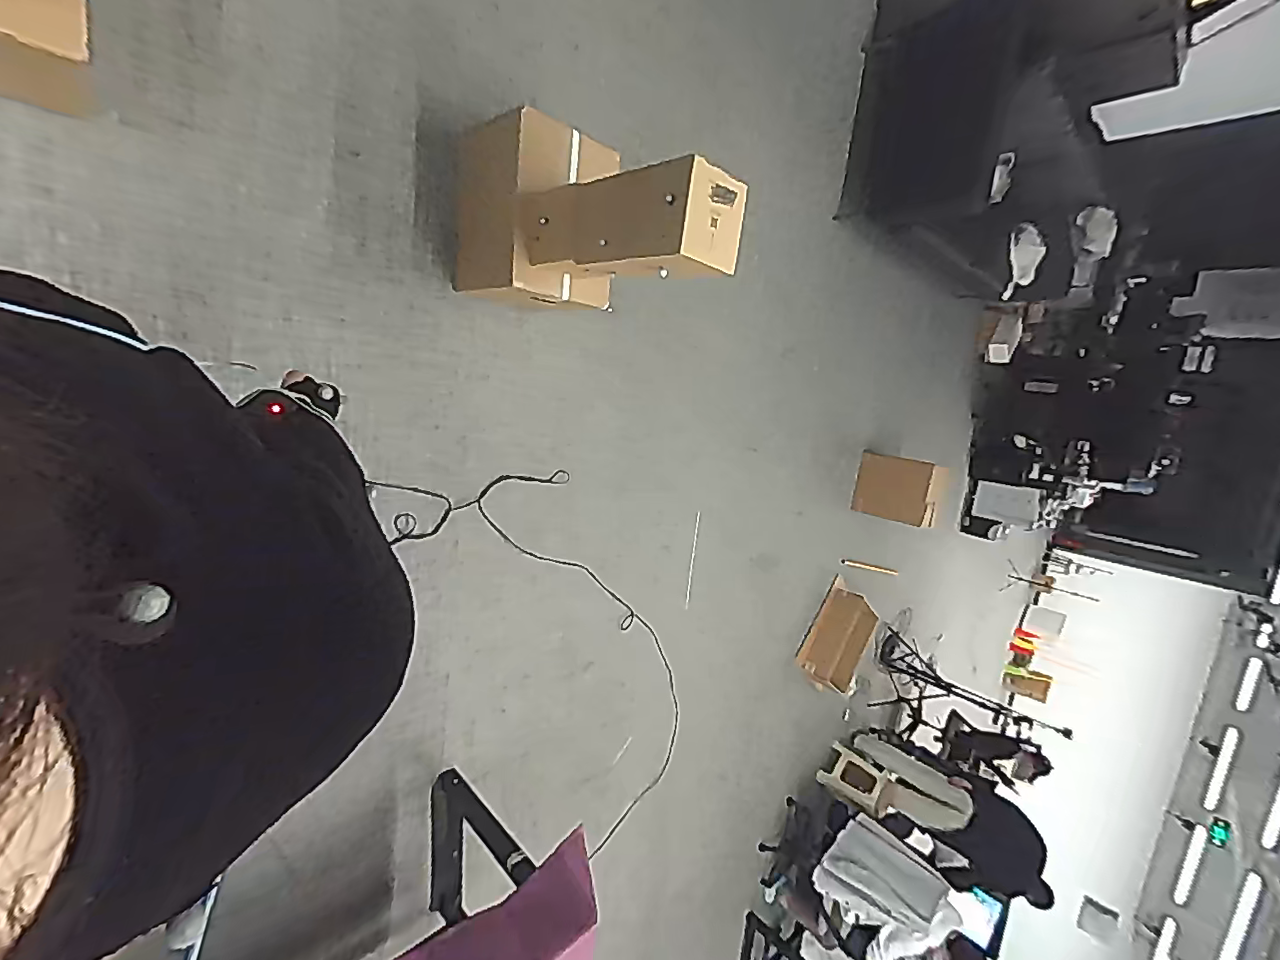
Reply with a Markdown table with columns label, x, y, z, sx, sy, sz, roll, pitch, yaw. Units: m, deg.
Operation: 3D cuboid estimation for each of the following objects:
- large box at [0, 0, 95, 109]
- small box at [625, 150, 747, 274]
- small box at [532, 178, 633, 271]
| label | x | y | z | sx | sy | sz | roll | pitch | yaw |
| --- | --- | --- | --- | --- | --- | --- | --- | --- | --- |
| large box | -0.993 | -0.828 | 0.746 | 0.320 | 0.320 | 0.408 | -4 | 104 | -45 |
| small box | 0.088 | -0.529 | 1.095 | 0.168 | 0.176 | 0.179 | -1 | 105 | -44 |
| small box | -0.141 | -0.611 | 1.317 | 0.179 | 0.176 | 0.168 | -6 | 106 | -43 |
